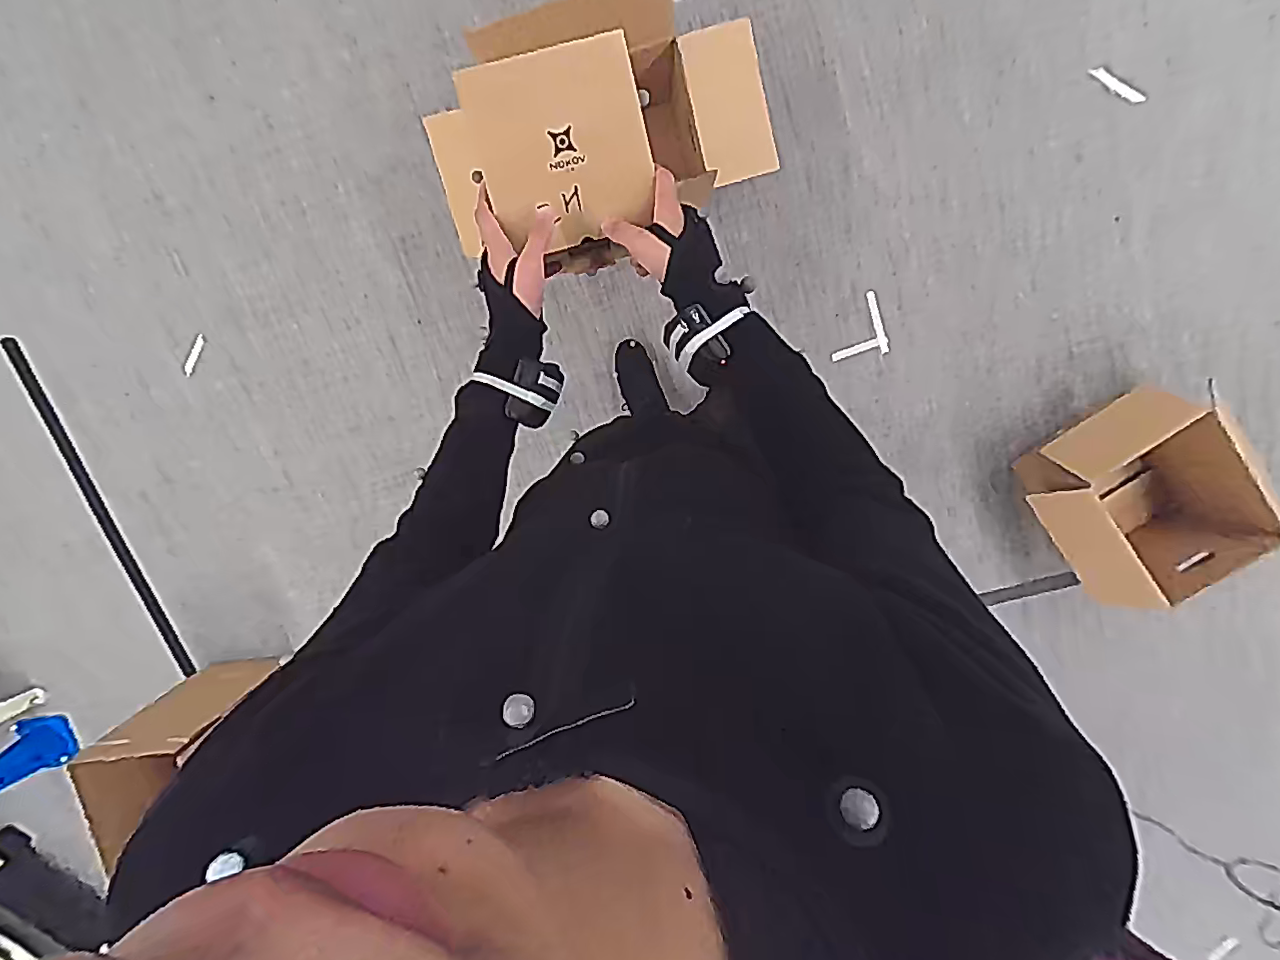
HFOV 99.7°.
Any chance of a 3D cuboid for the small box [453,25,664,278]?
[{"bbox_3d":[-0.081,-0.338,0.594,0.168,0.176,0.179,-16,106,0],"label":"small box"}]
